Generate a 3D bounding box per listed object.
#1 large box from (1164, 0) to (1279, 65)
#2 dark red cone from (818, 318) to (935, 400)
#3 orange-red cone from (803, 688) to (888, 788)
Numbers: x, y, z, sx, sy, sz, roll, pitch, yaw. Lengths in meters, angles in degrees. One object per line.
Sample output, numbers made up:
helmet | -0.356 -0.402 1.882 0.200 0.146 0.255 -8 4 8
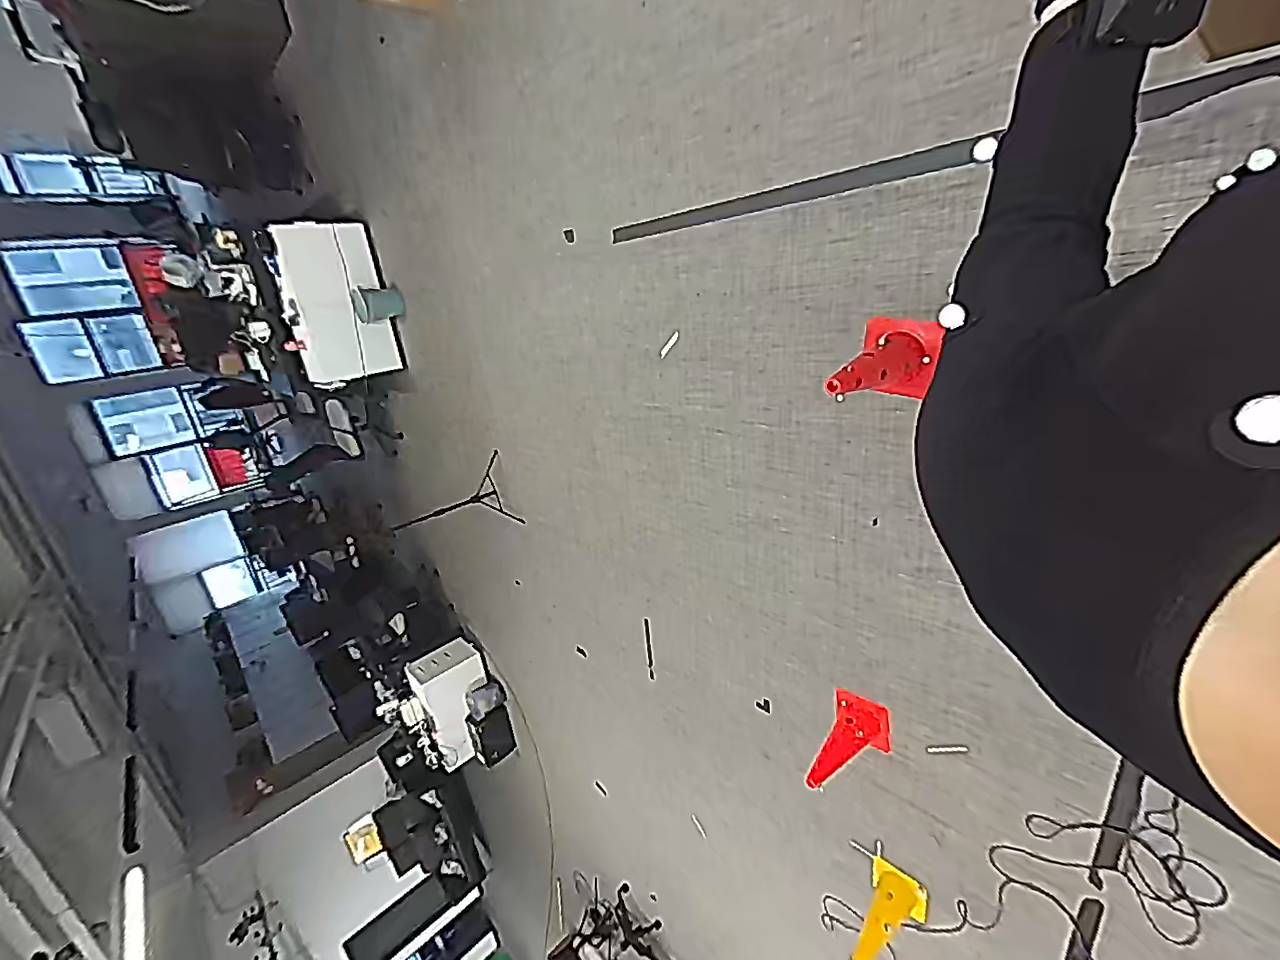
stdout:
large box | 0.554 -0.475 0.254 0.408 0.320 0.320 14 118 46
dark red cone | 0.551 -0.270 1.329 0.201 0.394 0.202 21 124 42
orange-red cone | 0.670 0.919 1.842 0.198 0.360 0.199 12 119 48
